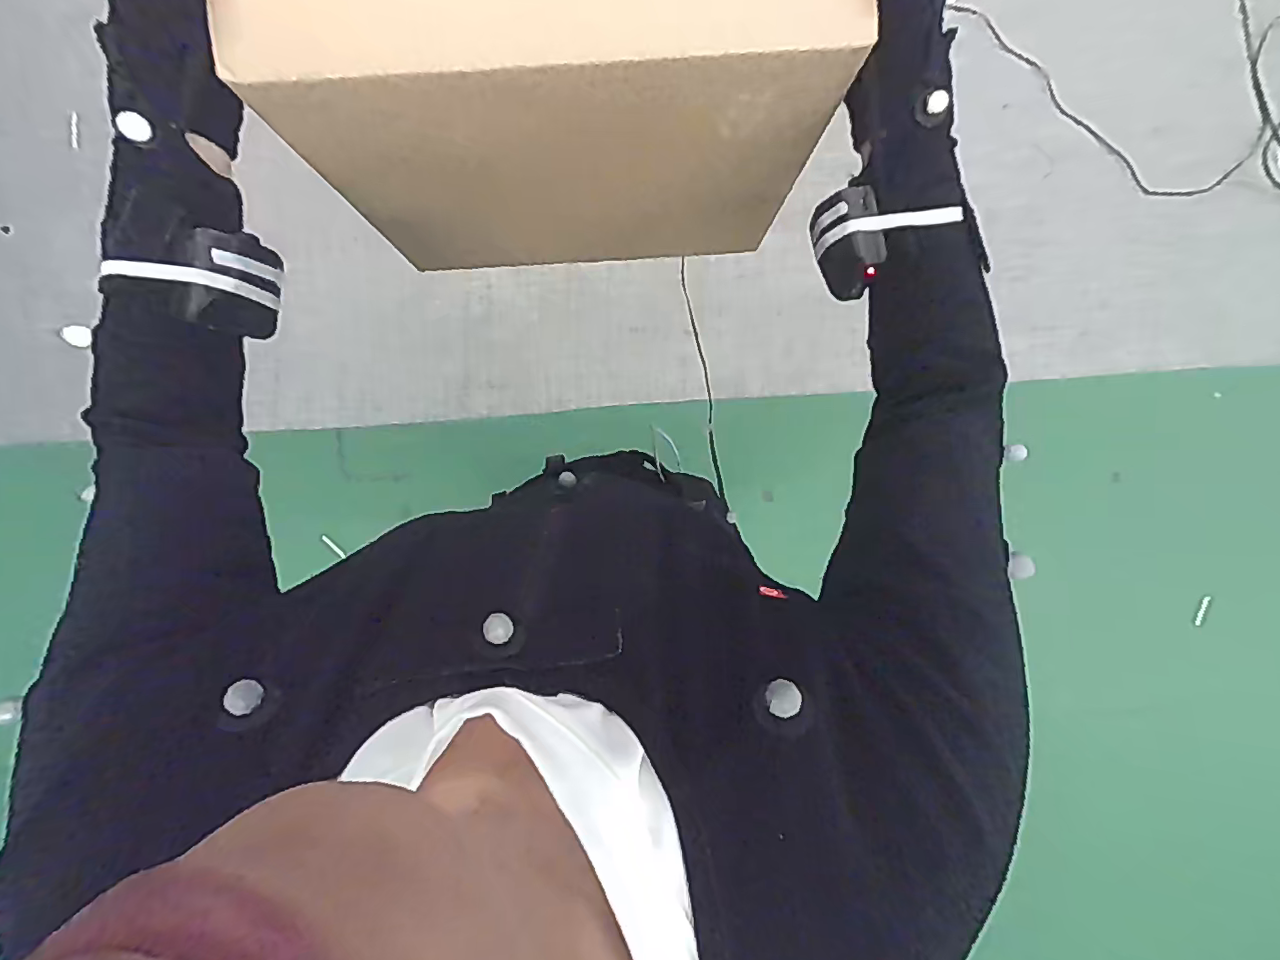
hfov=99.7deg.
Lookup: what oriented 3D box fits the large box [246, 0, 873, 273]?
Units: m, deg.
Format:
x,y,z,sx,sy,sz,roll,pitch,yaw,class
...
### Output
x,y,z,sx,sy,sz,roll,pitch,yaw,class
-0.064,-0.410,0.494,0.408,0.320,0.320,-5,91,-2,large box
